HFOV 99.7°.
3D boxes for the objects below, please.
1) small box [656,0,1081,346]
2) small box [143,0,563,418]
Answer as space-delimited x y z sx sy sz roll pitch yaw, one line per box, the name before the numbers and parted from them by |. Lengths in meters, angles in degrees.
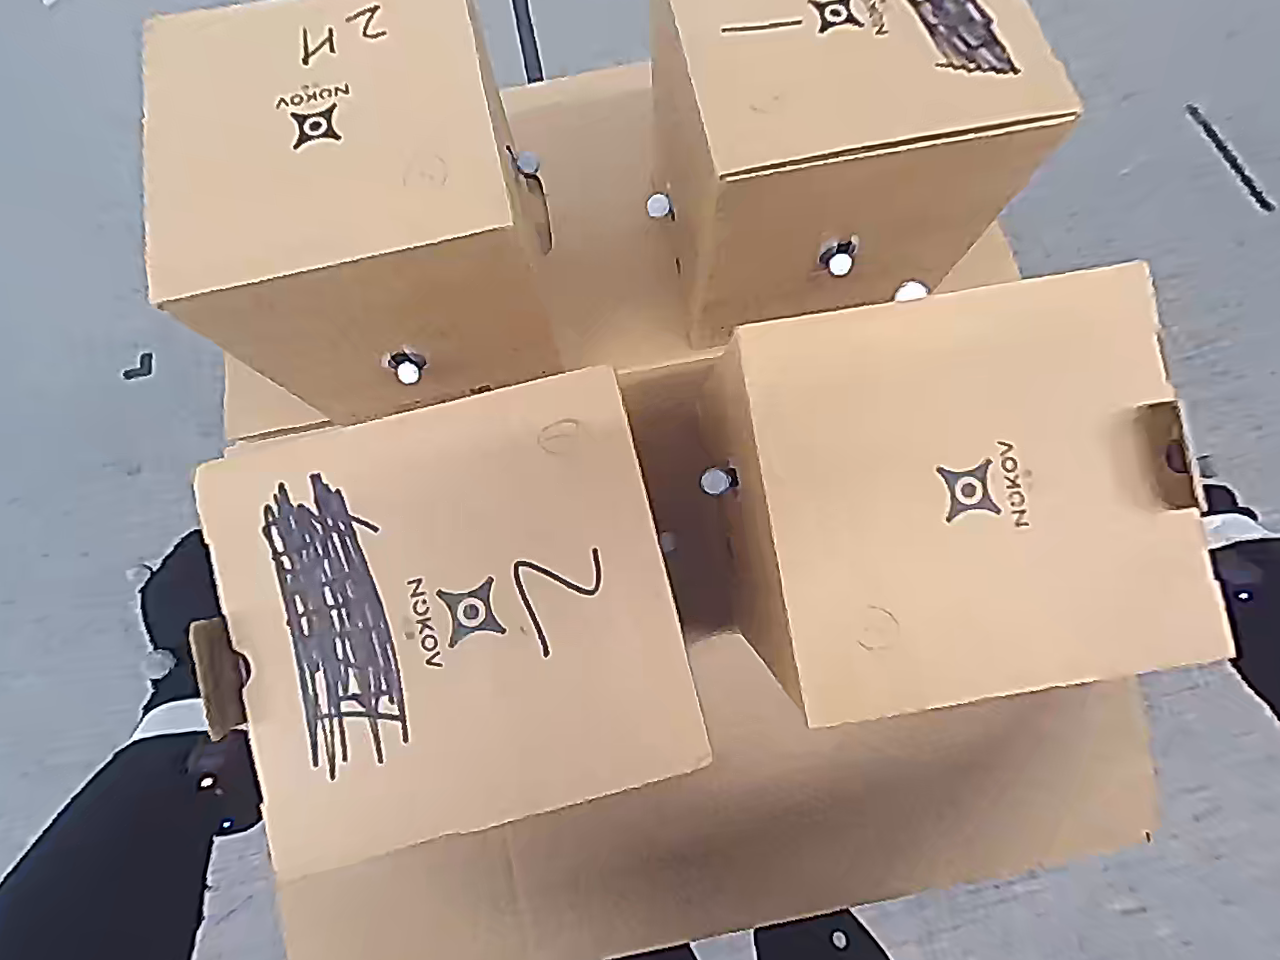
small box | 0.107 -0.205 0.341 0.179 0.176 0.168 -10 76 0
small box | -0.152 -0.151 0.337 0.168 0.176 0.179 -12 75 -2
